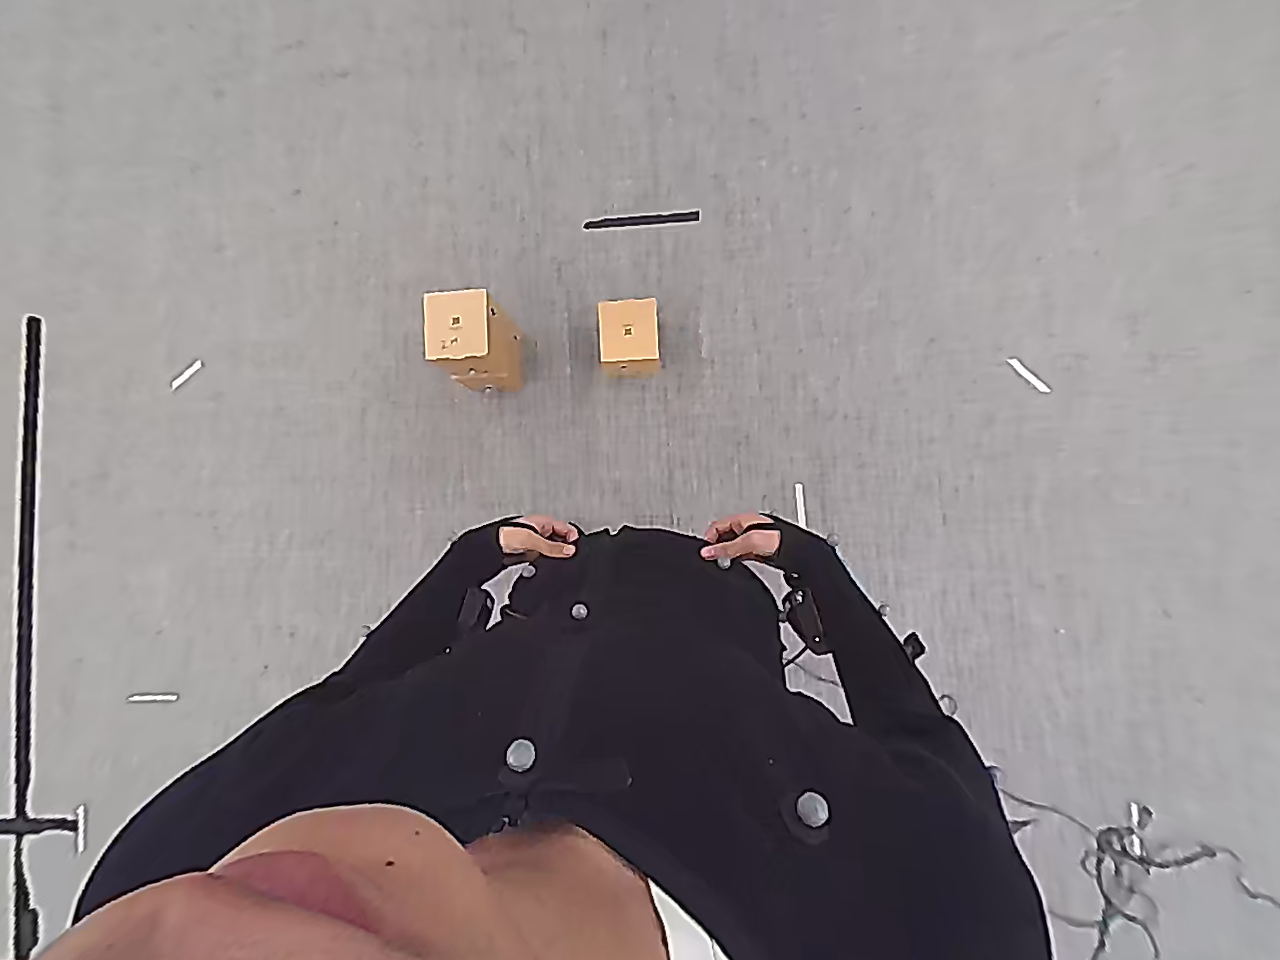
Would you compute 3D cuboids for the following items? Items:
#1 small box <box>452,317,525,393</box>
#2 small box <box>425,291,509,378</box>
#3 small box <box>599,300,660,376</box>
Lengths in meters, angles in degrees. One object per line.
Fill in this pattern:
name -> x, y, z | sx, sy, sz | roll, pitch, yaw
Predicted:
small box -> -0.444, -0.363, 1.596 | 0.168, 0.176, 0.179 | -3, 87, 4
small box -> -0.453, -0.380, 1.433 | 0.168, 0.176, 0.179 | -3, 88, 4
small box -> -0.027, -0.406, 1.579 | 0.168, 0.176, 0.179 | -3, 86, 2
